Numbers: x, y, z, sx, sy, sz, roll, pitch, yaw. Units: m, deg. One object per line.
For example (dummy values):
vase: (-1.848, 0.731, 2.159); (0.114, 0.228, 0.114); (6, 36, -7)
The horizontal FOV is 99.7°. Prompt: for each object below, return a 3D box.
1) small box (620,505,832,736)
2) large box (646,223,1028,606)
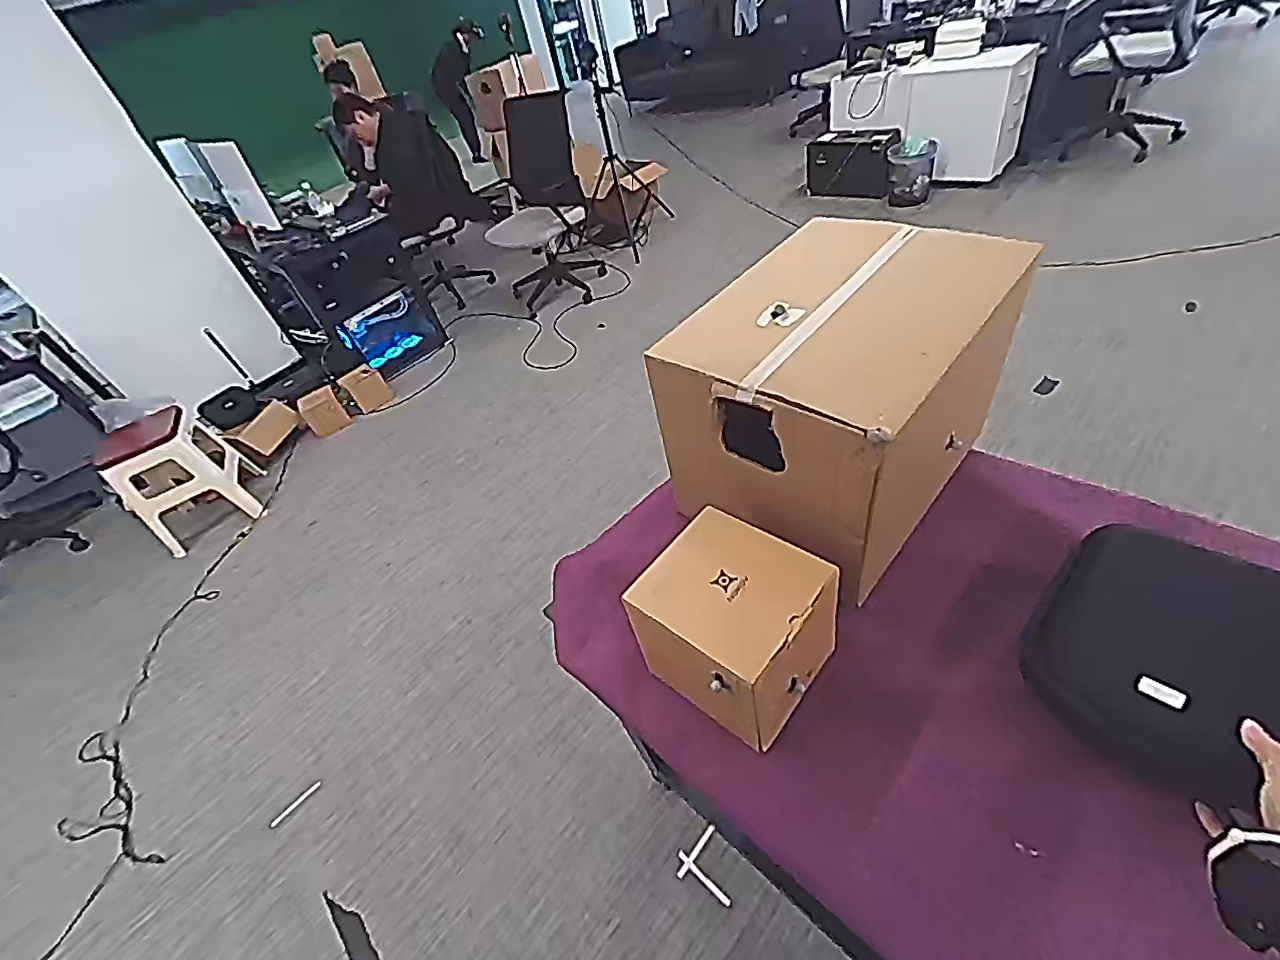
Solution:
small box: (0.105, 0.166, 0.644); (0.179, 0.176, 0.168); (25, 56, 34)
large box: (0.272, -0.111, 0.773); (0.320, 0.320, 0.408); (27, 60, 35)
